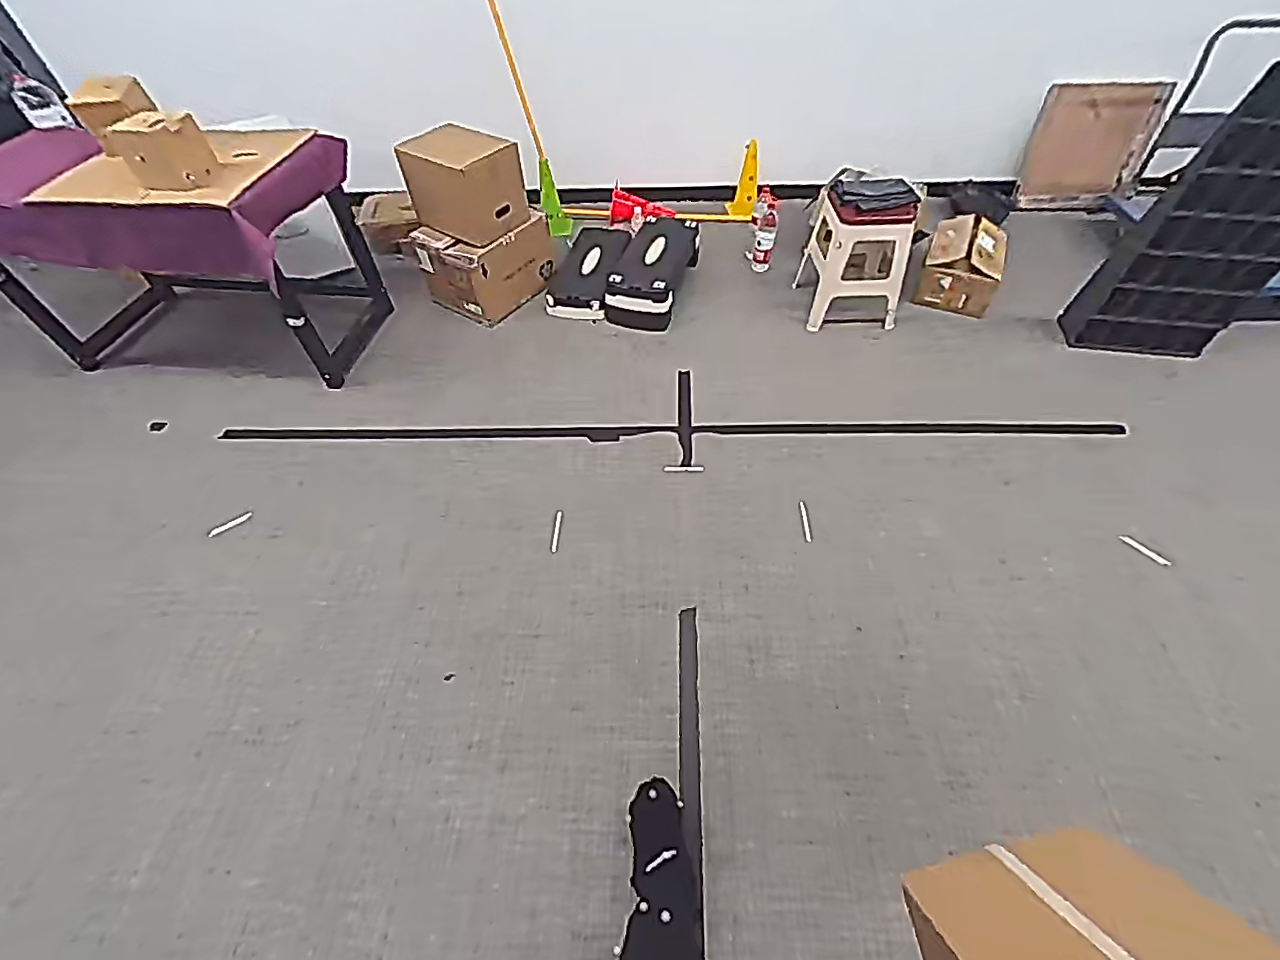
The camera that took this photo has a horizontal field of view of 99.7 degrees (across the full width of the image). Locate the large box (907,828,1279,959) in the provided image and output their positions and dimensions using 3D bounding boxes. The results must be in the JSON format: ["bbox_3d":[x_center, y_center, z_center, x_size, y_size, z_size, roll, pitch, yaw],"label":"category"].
[{"bbox_3d":[0.587,0.699,0.621,0.320,0.408,0.320,-15,86,-1],"label":"large box"}]
